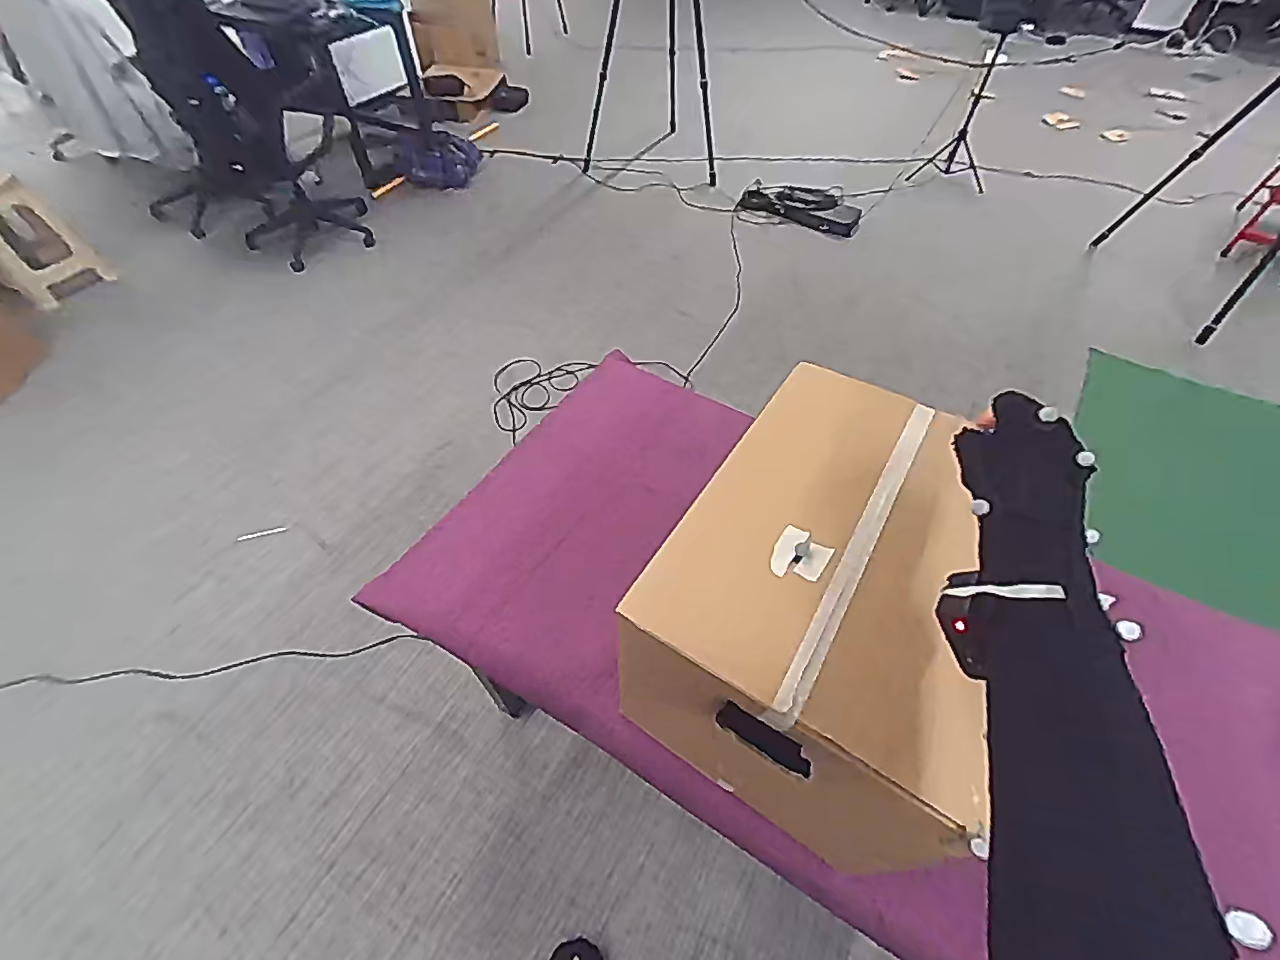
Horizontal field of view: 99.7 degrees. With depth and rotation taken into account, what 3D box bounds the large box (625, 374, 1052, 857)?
[{"bbox_3d":[0.214,0.151,0.653,0.320,0.320,0.408,28,57,20],"label":"large box"}]
